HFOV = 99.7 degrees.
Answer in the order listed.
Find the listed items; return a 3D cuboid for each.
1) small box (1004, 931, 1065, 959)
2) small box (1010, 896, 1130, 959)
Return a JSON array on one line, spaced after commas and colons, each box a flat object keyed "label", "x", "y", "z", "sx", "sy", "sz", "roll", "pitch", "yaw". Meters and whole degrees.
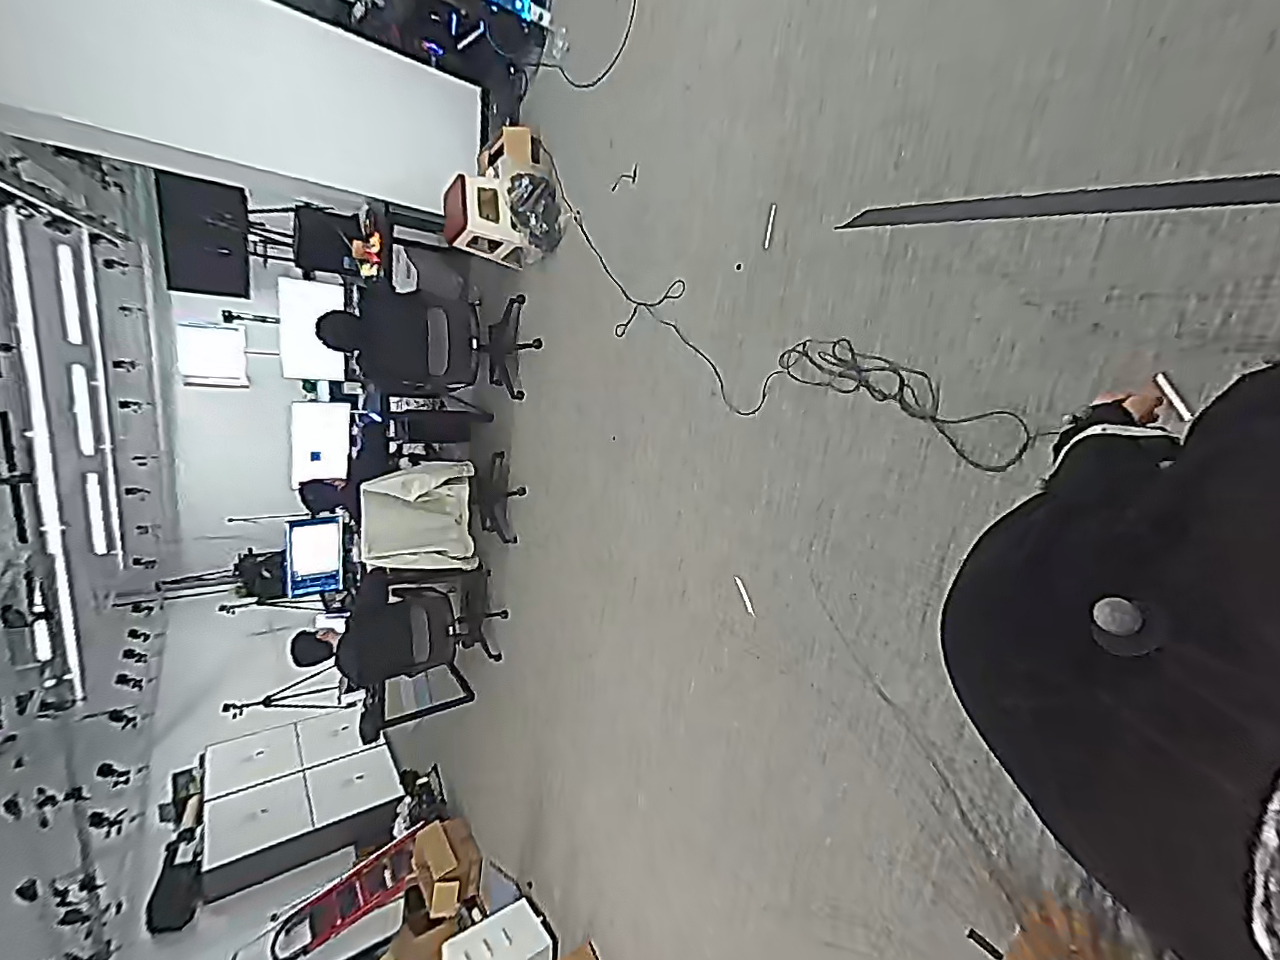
[{"label": "small box", "x": 0.843, "y": 1.109, "z": 1.123, "sx": 0.179, "sy": 0.176, "sz": 0.168, "roll": 22, "pitch": 109, "yaw": 49}, {"label": "small box", "x": 0.968, "y": 1.102, "z": 1.231, "sx": 0.179, "sy": 0.176, "sz": 0.168, "roll": 18, "pitch": 107, "yaw": 49}]
